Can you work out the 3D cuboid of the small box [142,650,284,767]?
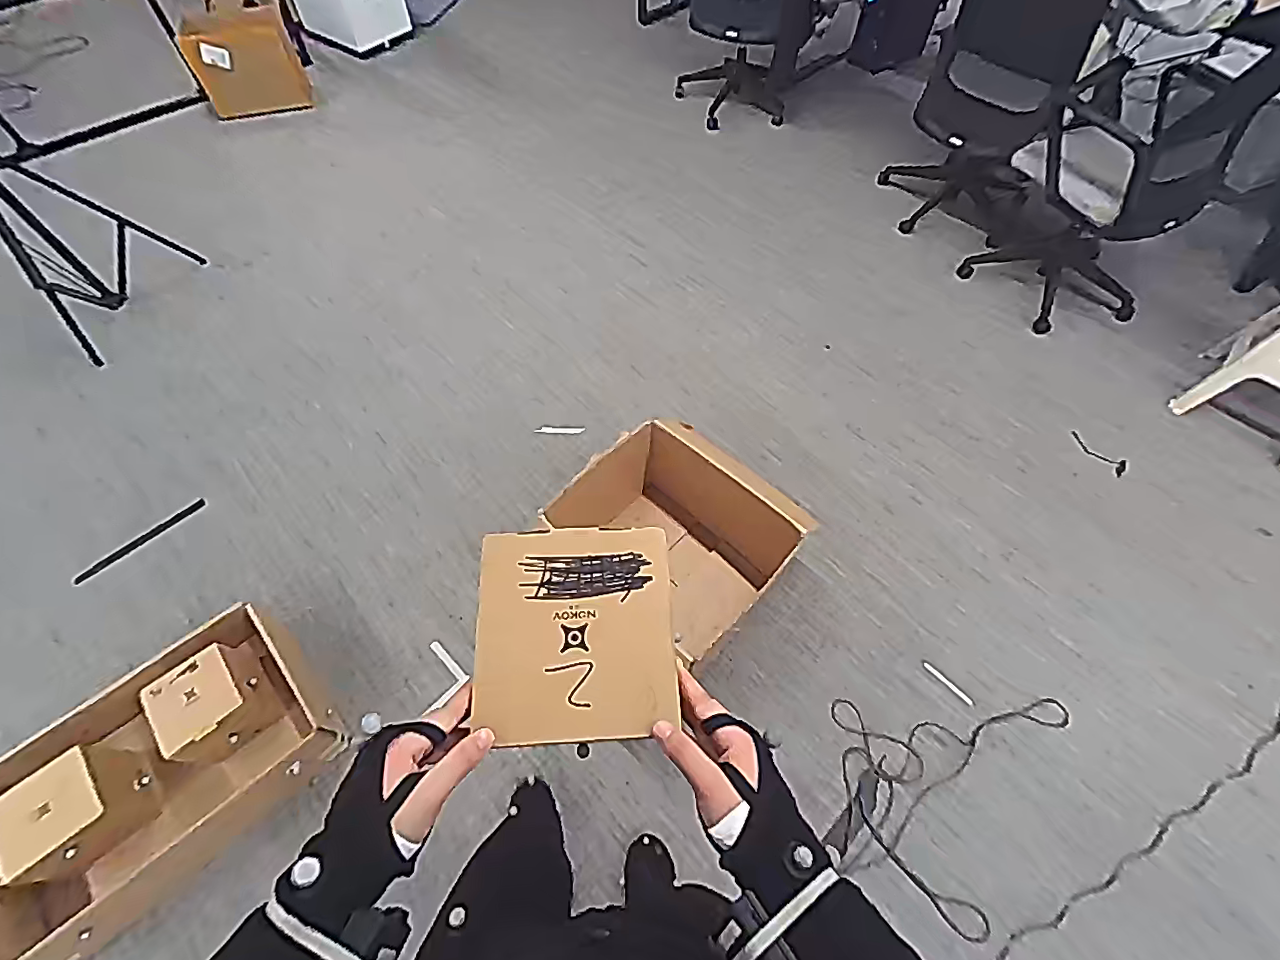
[{"bbox_3d":[-0.961,0.522,1.232,0.168,0.176,0.179,-36,67,-20],"label":"small box"}]

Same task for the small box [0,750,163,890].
[{"bbox_3d":[-1.164,0.698,1.122,0.179,0.176,0.168,-38,68,-23],"label":"small box"}]
